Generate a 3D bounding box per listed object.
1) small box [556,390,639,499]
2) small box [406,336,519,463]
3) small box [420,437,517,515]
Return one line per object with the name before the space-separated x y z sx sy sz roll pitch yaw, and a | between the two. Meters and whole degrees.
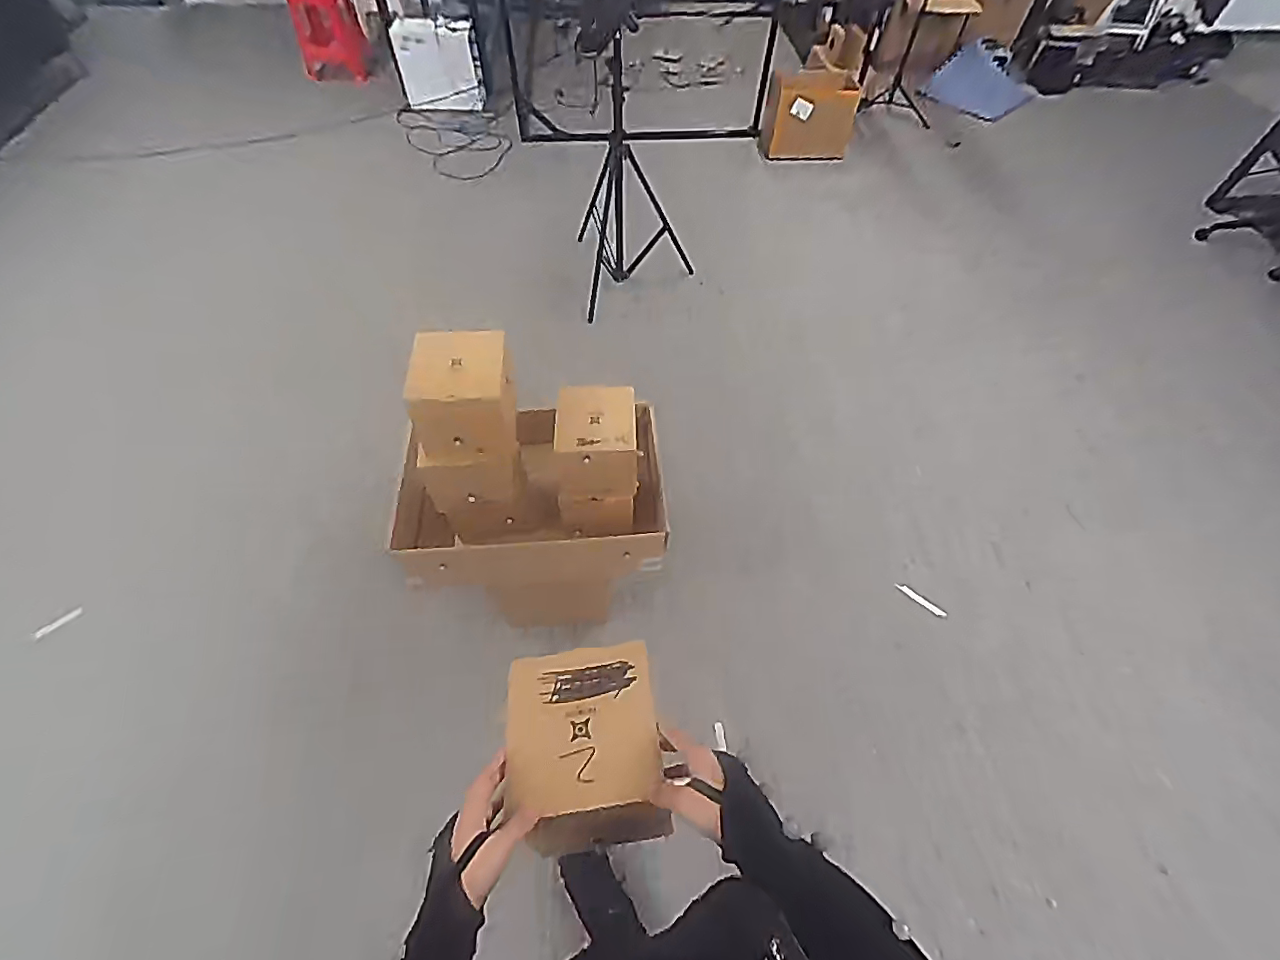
small box | -0.086 -0.075 1.173 0.168 0.176 0.179 -1 55 -1
small box | -0.327 -0.153 1.031 0.168 0.176 0.179 -4 56 -6
small box | -0.358 -0.047 1.155 0.168 0.176 0.179 -7 57 -7
